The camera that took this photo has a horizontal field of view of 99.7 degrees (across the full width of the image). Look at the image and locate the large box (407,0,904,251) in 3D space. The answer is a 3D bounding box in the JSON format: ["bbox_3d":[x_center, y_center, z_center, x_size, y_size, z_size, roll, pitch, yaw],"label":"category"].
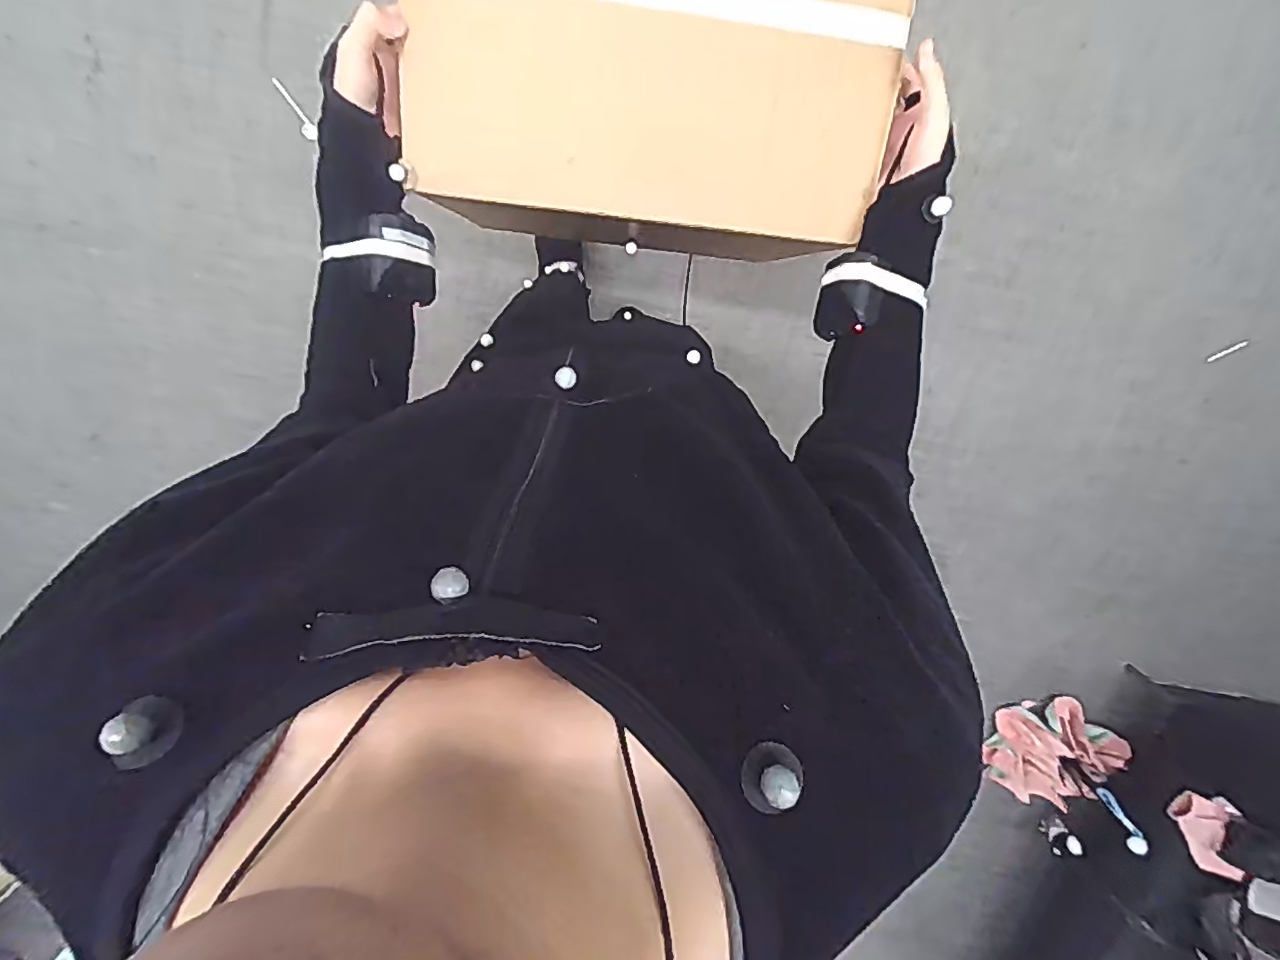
[{"bbox_3d":[0.008,-0.429,0.573,0.408,0.320,0.320,4,108,-5],"label":"large box"}]
